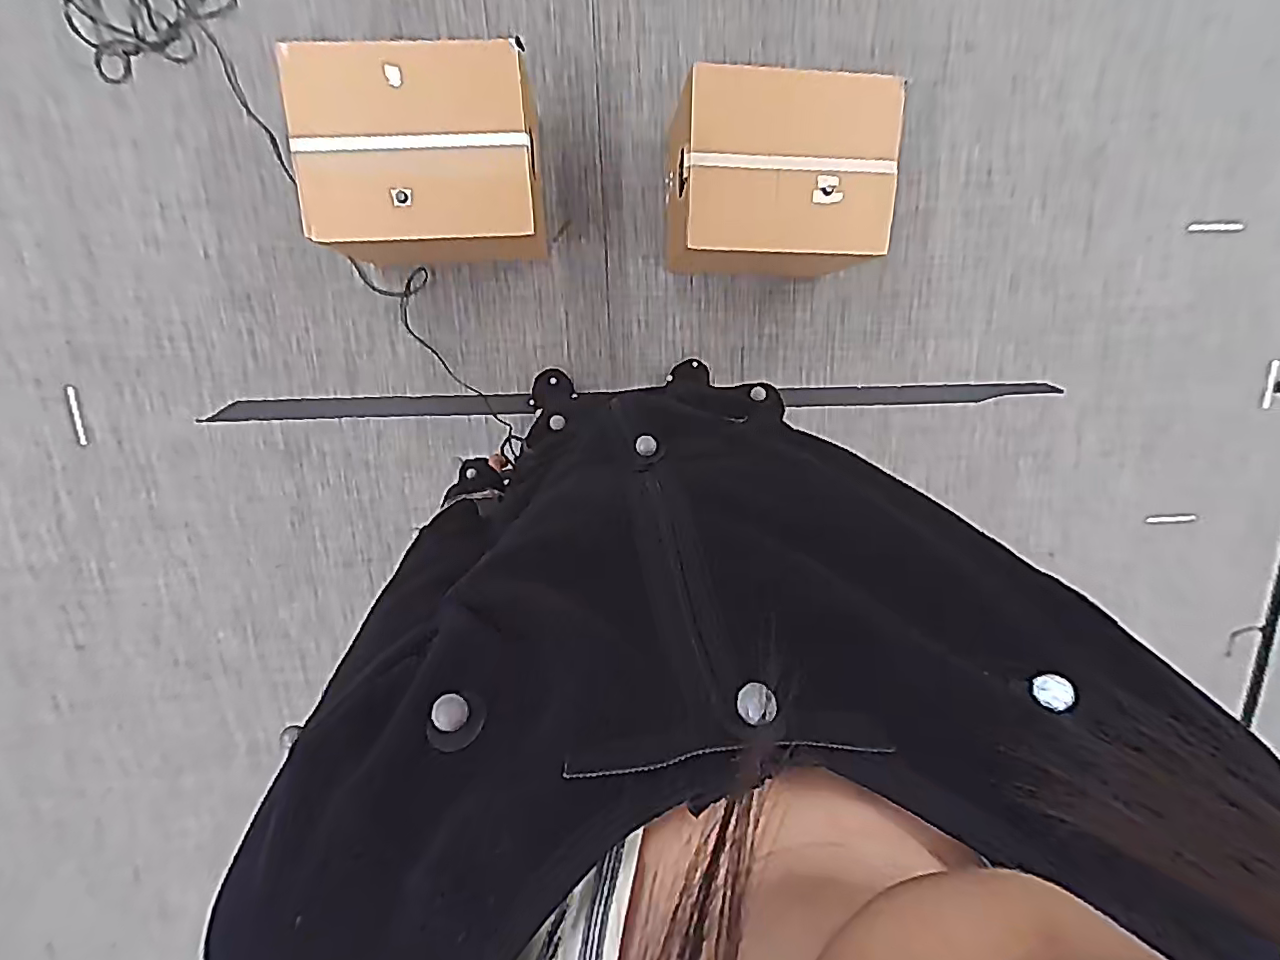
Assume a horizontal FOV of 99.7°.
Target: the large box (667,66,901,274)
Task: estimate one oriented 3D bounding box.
[{"bbox_3d":[0.276,-0.632,1.169,0.408,0.320,0.320,0,103,-6],"label":"large box"}]
